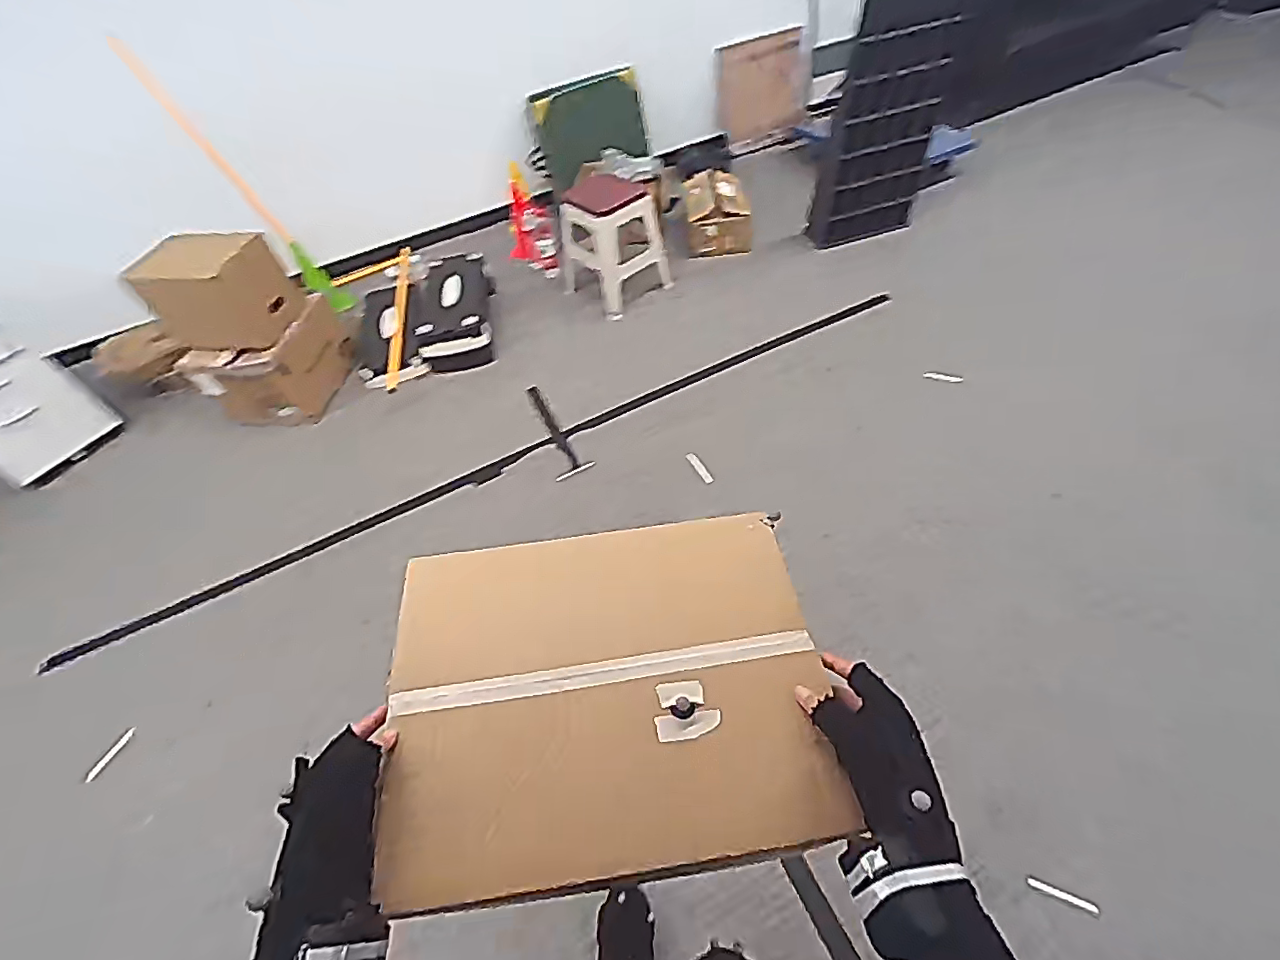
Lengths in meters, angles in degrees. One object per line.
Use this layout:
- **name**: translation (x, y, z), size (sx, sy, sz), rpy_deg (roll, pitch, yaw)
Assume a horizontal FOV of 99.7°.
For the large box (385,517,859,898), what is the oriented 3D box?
- **large box**: translation (-0.026, 0.277, 0.649), size (0.408, 0.320, 0.320), rpy_deg (-6, 52, -3)
